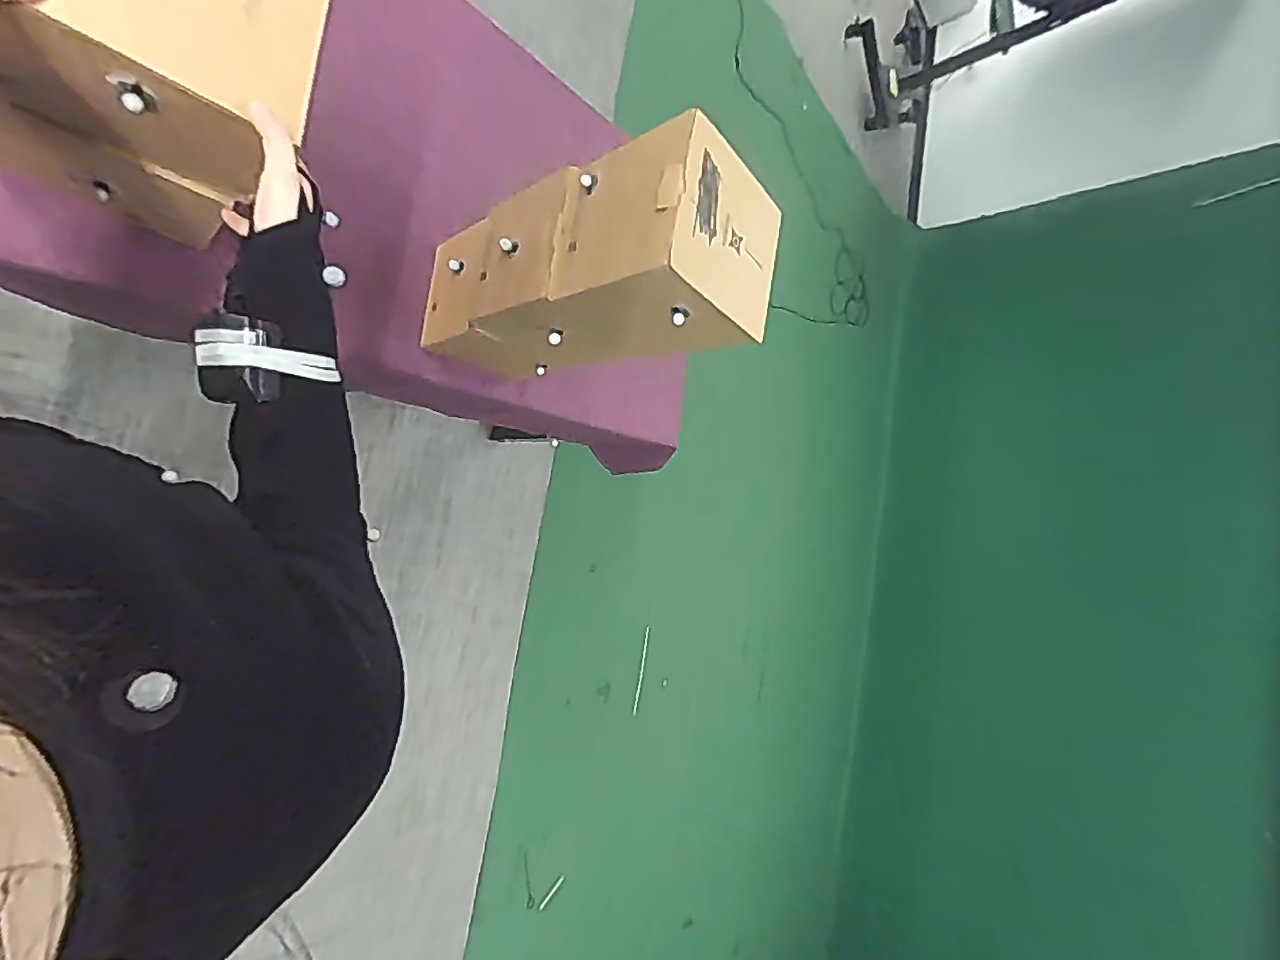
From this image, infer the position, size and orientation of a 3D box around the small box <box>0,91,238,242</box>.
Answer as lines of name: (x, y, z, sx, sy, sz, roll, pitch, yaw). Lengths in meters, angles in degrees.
small box: (-0.486, -0.361, 0.524, 0.168, 0.176, 0.179, 15, 82, -47)

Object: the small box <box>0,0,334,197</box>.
small box: (-0.363, -0.352, 0.415, 0.179, 0.176, 0.168, 13, 85, -47)

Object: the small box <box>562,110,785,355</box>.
small box: (0.037, -0.251, 0.605, 0.179, 0.176, 0.168, 19, 79, -47)

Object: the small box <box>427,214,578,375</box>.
small box: (-0.202, -0.267, 0.830, 0.179, 0.176, 0.168, 13, 83, -46)

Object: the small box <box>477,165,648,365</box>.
small box: (-0.088, -0.261, 0.712, 0.179, 0.176, 0.168, 18, 80, -45)
